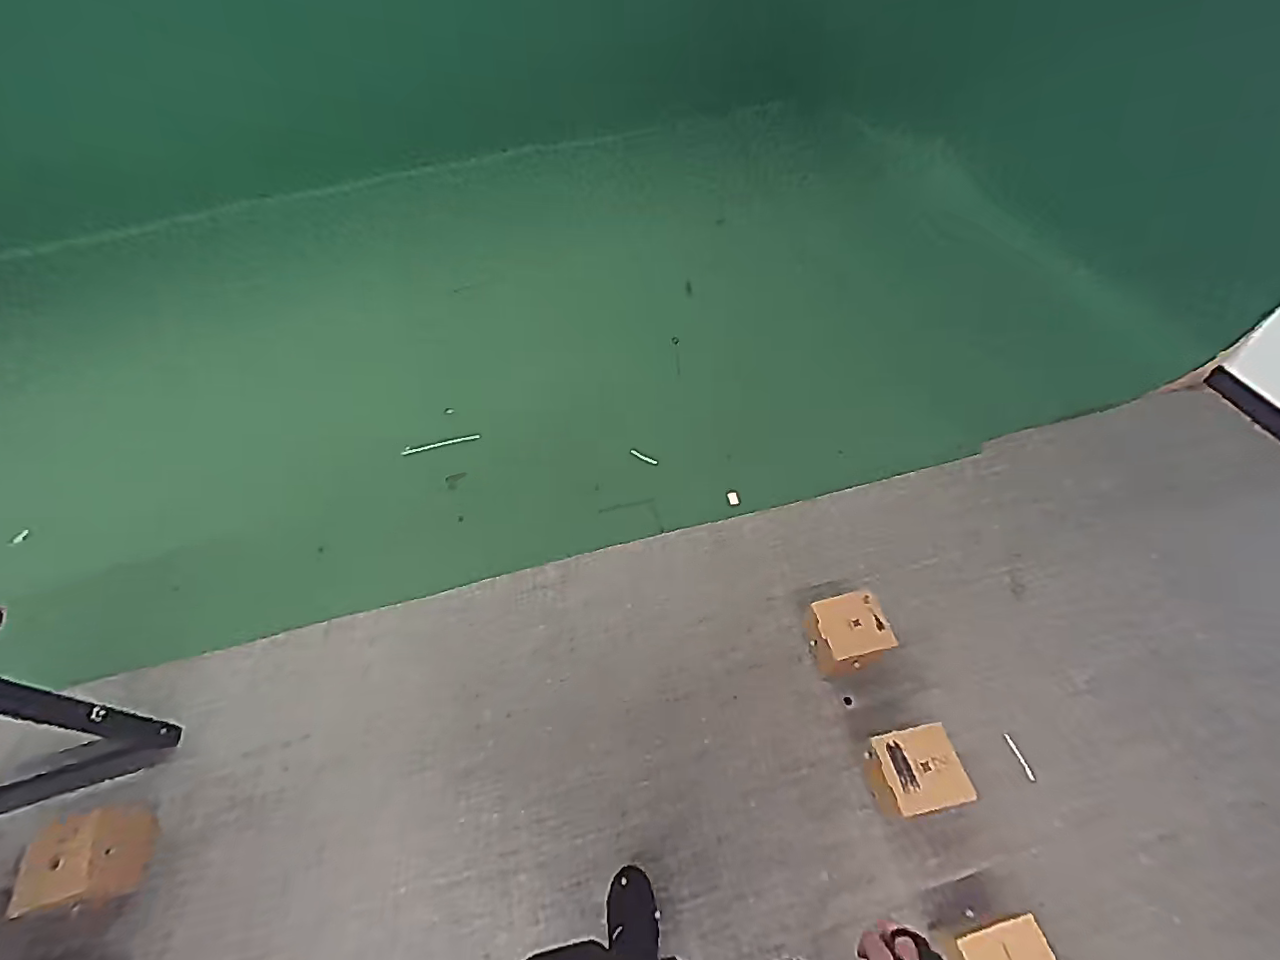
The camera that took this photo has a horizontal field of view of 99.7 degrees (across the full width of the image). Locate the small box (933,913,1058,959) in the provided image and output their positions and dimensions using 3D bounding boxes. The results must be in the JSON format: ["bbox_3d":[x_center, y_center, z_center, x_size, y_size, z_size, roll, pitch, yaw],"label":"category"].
[{"bbox_3d":[0.719,0.984,1.061,0.168,0.176,0.179,-14,53,-4],"label":"small box"}]

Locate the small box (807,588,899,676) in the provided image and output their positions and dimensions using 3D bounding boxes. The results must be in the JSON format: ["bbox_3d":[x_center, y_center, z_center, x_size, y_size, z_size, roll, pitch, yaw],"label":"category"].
[{"bbox_3d":[0.572,0.424,1.486,0.179,0.176,0.168,-13,55,-3],"label":"small box"}]

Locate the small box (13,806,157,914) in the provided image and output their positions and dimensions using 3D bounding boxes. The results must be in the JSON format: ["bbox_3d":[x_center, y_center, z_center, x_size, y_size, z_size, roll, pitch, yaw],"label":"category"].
[{"bbox_3d":[-1.353,0.934,1.336,0.168,0.176,0.179,-17,54,-6],"label":"small box"}]
